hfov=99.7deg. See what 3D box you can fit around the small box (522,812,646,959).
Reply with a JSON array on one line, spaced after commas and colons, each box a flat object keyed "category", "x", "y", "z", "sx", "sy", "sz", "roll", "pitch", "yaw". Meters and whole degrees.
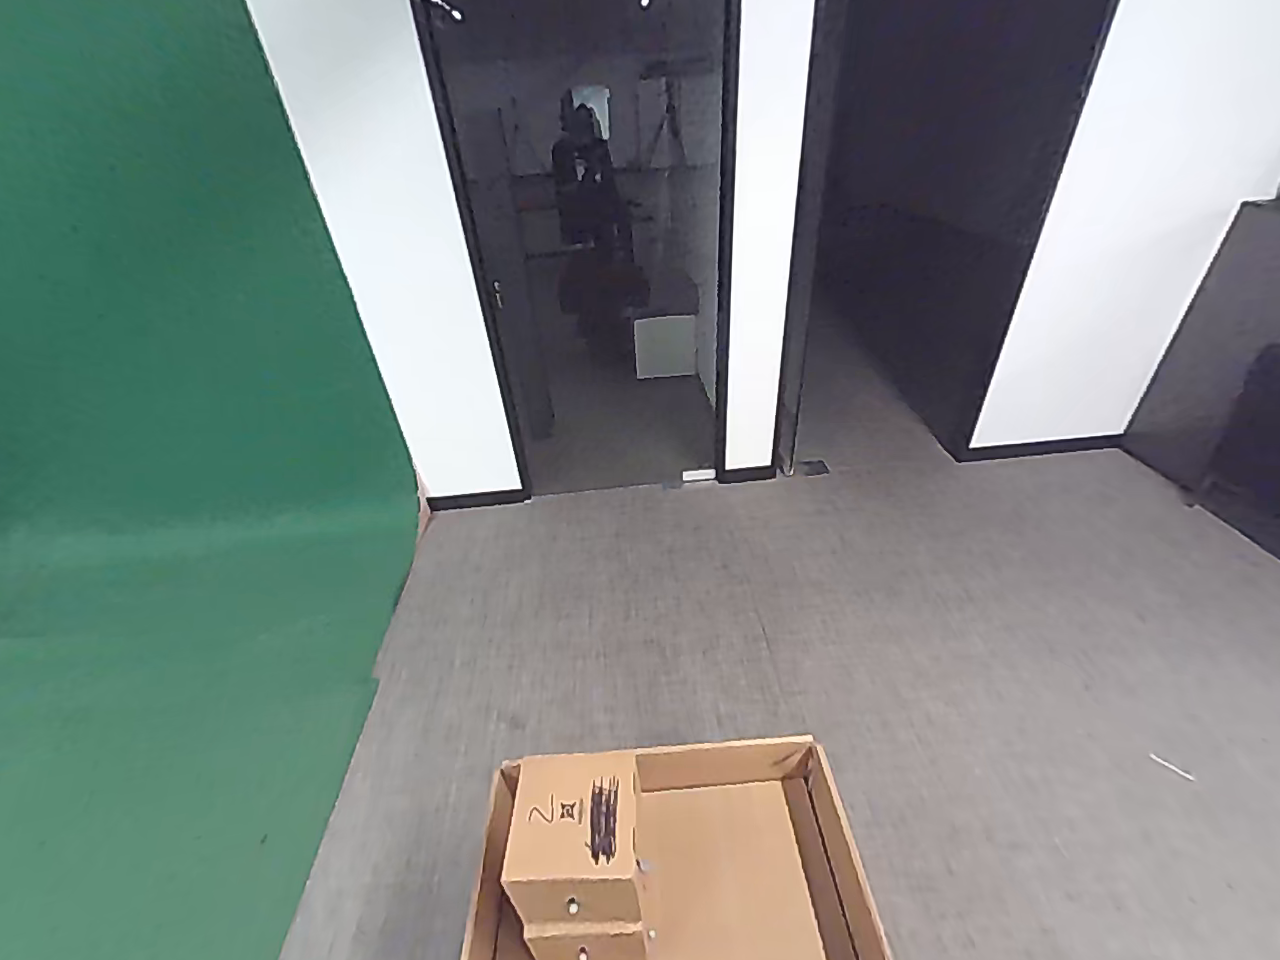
[{"category": "small box", "x": -0.080, "y": 0.670, "z": 0.883, "sx": 0.179, "sy": 0.176, "sz": 0.168, "roll": -4, "pitch": 34, "yaw": 1}]
